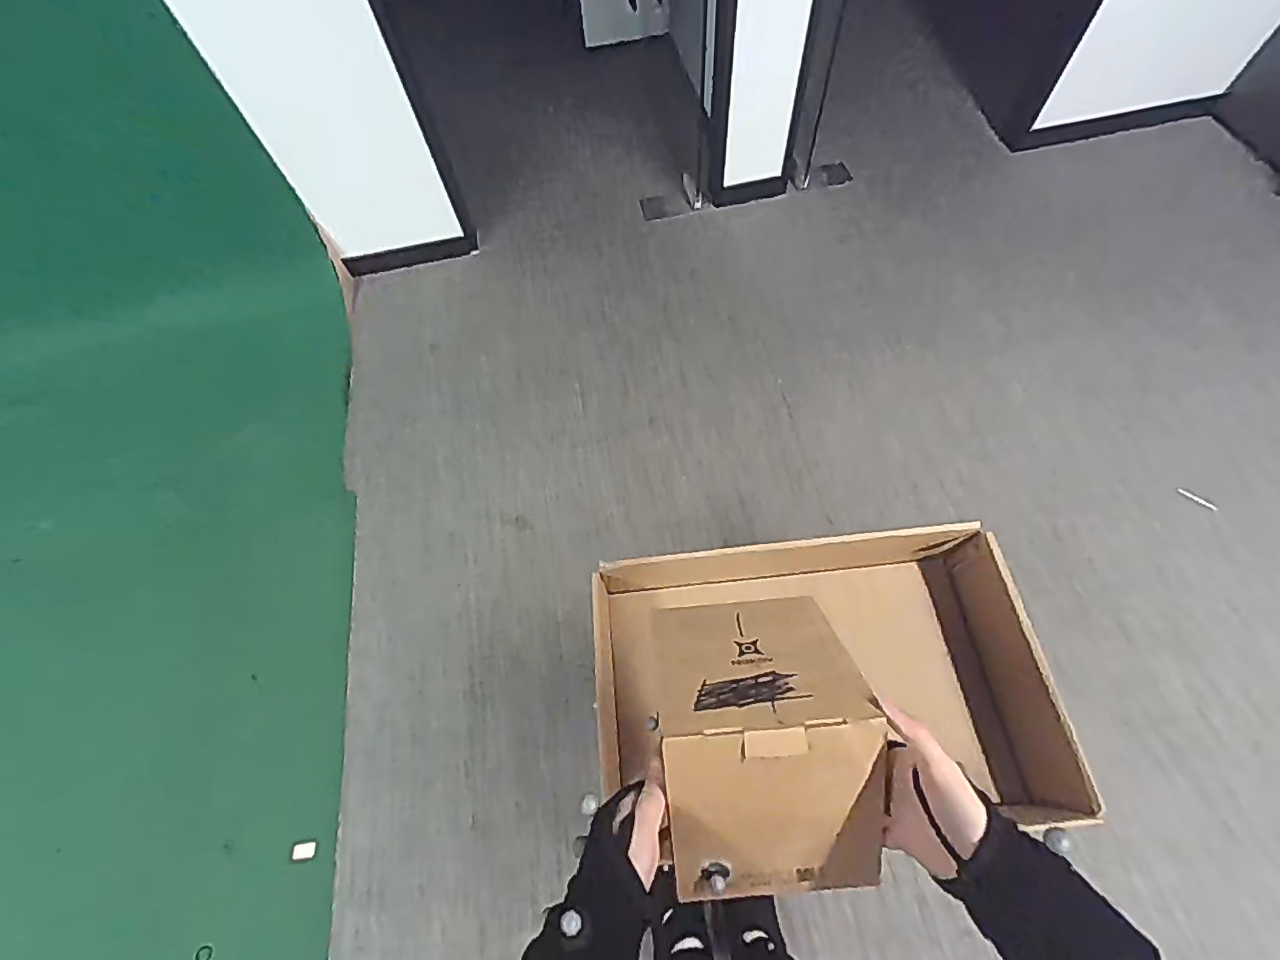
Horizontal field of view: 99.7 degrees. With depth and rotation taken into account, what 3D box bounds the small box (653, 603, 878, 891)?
[{"bbox_3d":[0.102,0.235,0.492,0.168,0.179,0.176,-5,106,1],"label":"small box"}]
